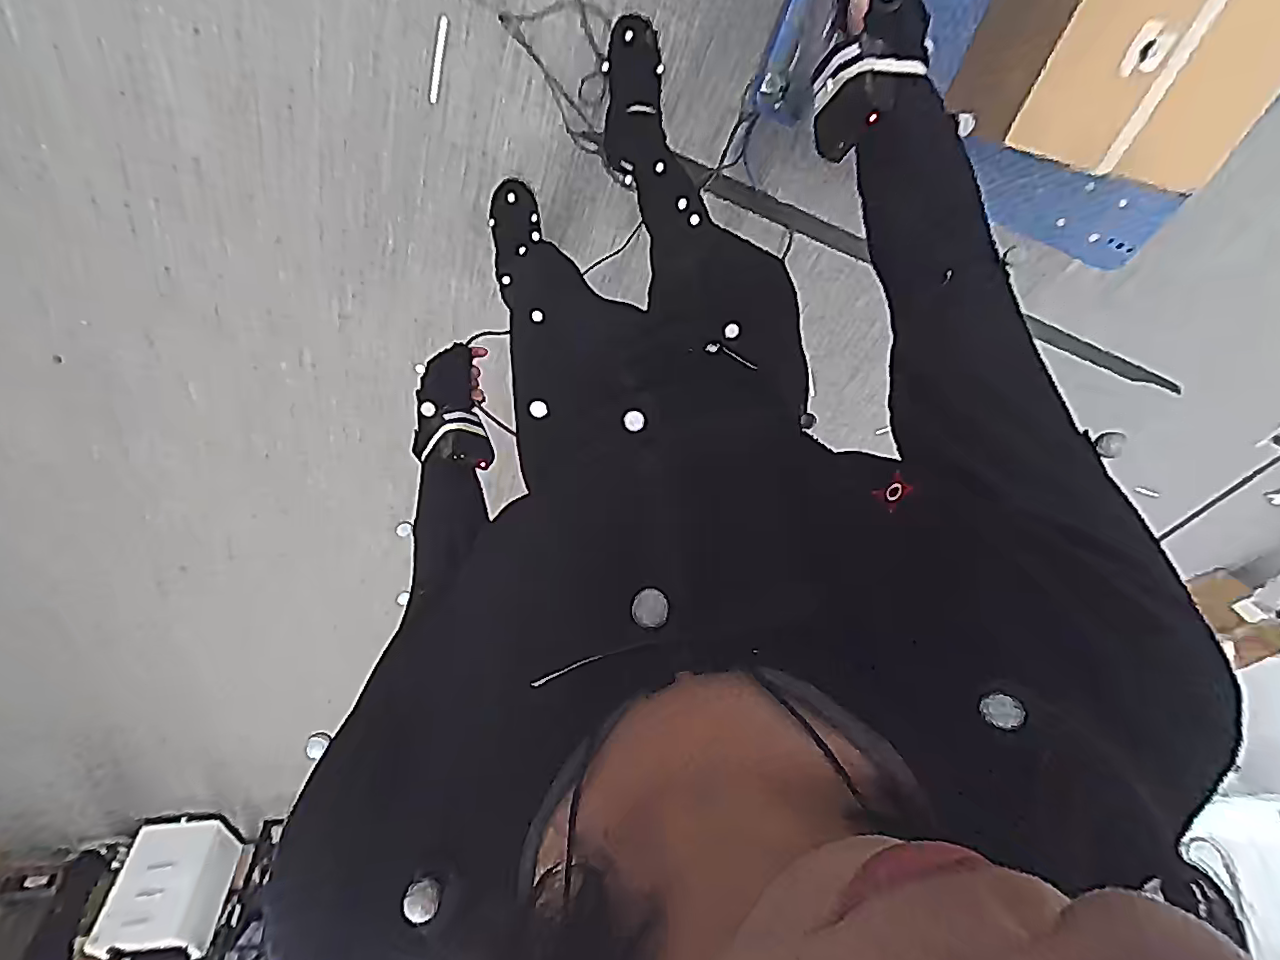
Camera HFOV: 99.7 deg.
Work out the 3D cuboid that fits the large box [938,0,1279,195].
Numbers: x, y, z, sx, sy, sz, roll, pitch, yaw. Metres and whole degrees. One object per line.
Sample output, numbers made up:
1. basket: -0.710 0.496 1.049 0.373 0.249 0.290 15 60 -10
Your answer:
1. large box: 0.733 -0.704 0.797 0.320 0.320 0.408 13 129 -3
